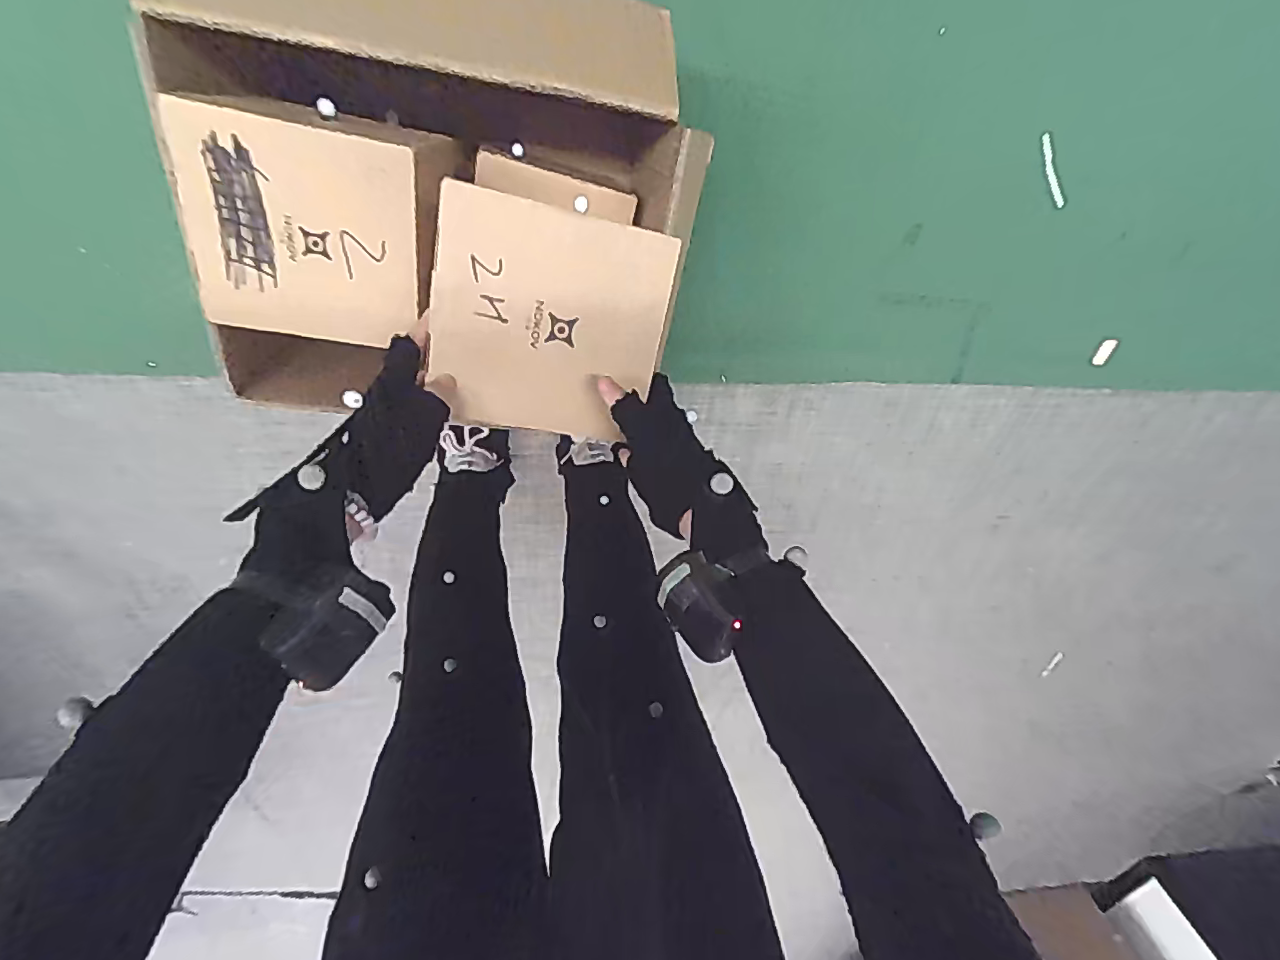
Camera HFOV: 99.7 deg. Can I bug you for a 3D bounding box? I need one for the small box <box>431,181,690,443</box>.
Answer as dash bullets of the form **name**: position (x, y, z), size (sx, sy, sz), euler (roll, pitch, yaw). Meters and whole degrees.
- **small box**: position (-0.076, -0.146, 0.487), size (0.179, 0.176, 0.168), euler (9, 108, -14)
